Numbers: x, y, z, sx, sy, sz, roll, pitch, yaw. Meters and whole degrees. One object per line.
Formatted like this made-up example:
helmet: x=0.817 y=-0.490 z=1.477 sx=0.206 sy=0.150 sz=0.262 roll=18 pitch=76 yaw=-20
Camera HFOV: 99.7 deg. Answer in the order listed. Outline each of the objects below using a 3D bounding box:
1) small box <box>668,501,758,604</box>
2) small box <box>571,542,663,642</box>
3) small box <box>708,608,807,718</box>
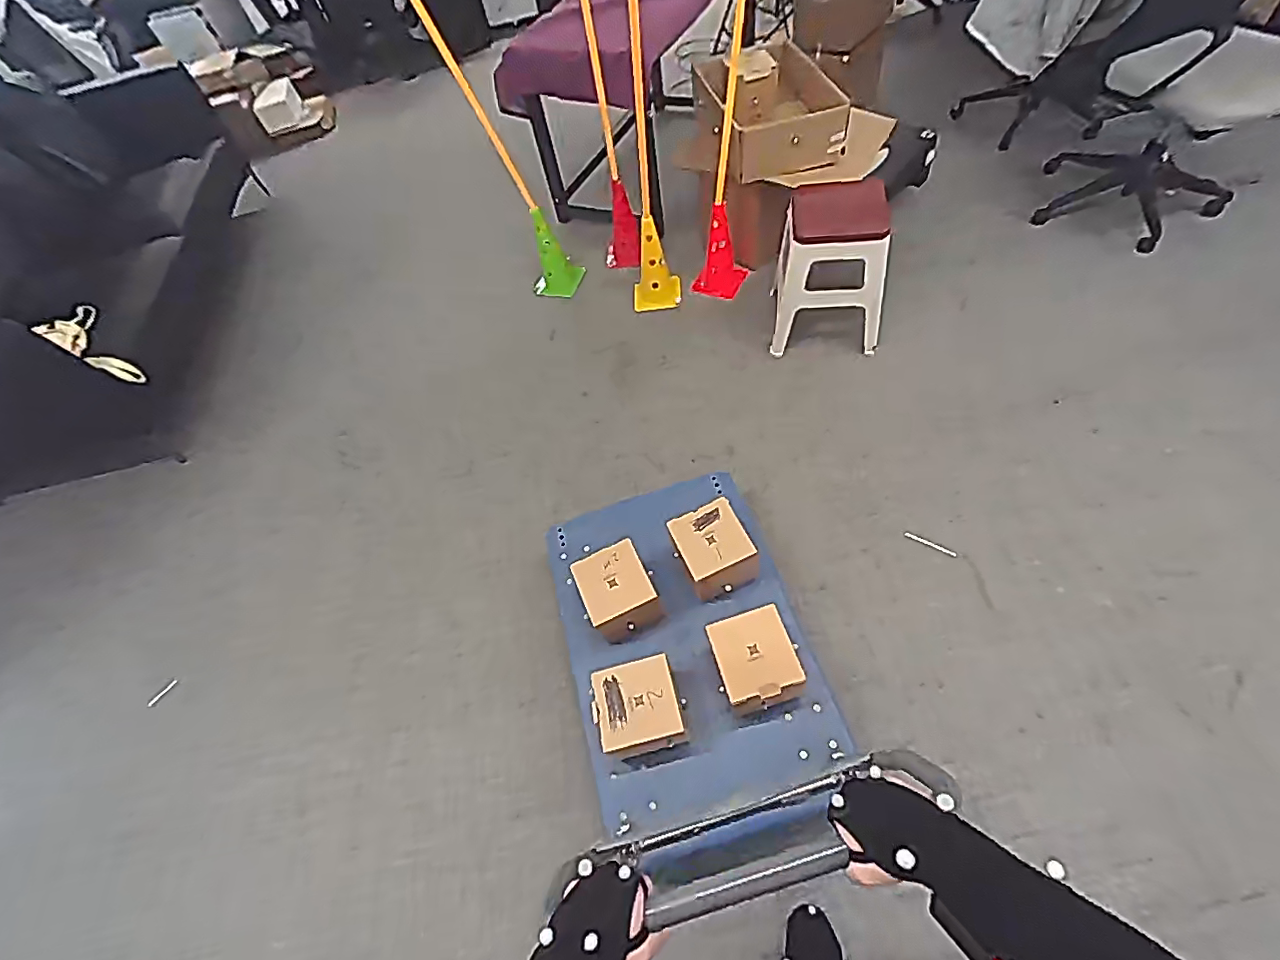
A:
small box: x=0.186 y=0.190 z=1.385 sx=0.168 sy=0.176 sz=0.179 roll=-24 pitch=58 yaw=-4
small box: x=-0.052 y=0.292 z=1.367 sx=0.168 sy=0.176 sz=0.179 roll=-24 pitch=57 yaw=-6
small box: x=0.261 y=0.419 z=1.230 sx=0.168 sy=0.176 sz=0.179 roll=-18 pitch=57 yaw=0
